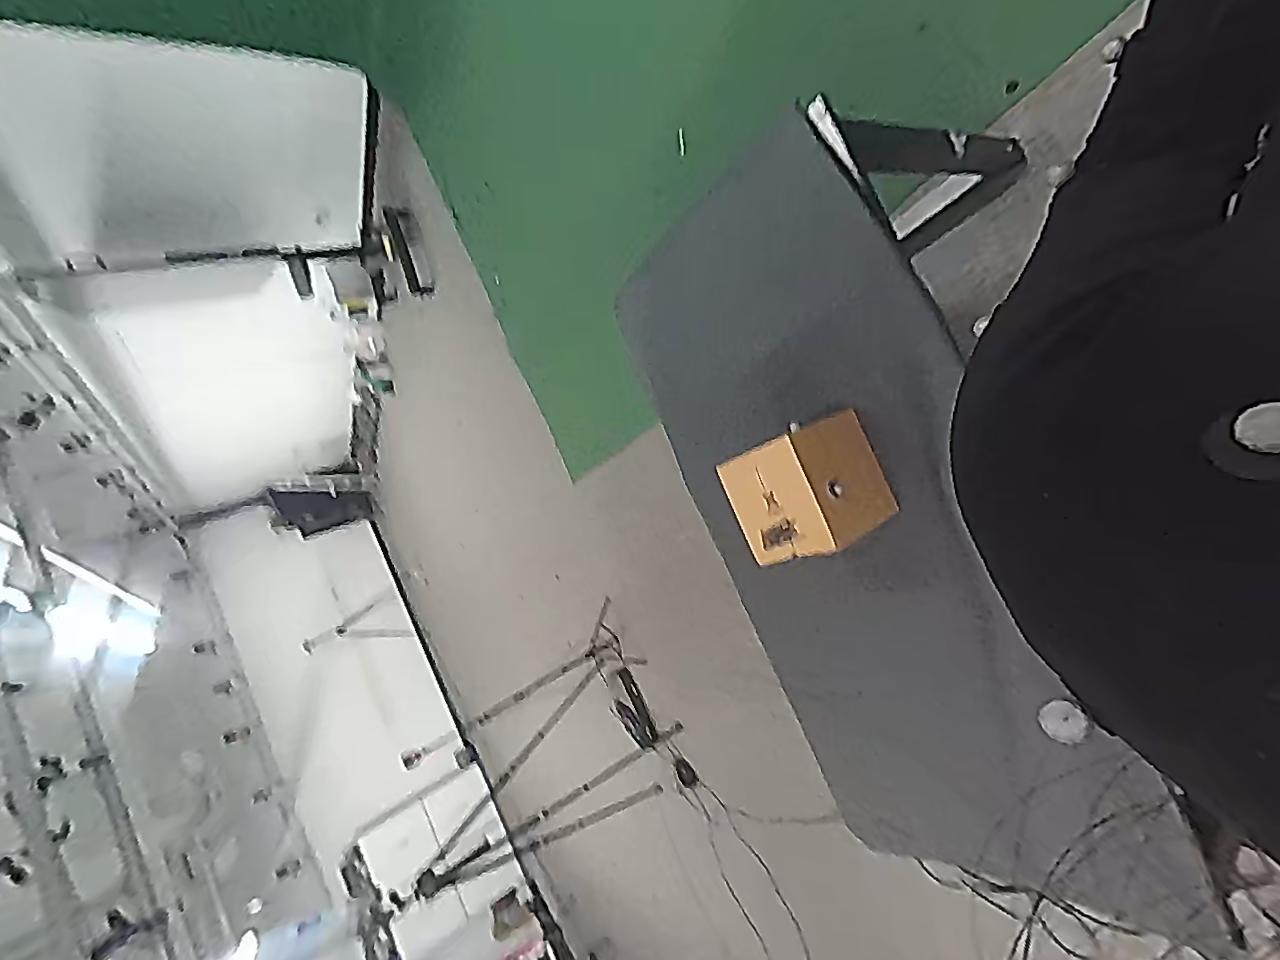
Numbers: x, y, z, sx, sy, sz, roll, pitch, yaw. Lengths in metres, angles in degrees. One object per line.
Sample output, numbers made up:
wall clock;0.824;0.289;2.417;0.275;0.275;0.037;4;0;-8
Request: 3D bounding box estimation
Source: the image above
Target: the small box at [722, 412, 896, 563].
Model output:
small box;0.270;0.012;0.863;0.168;0.176;0.179;-29;83;56
